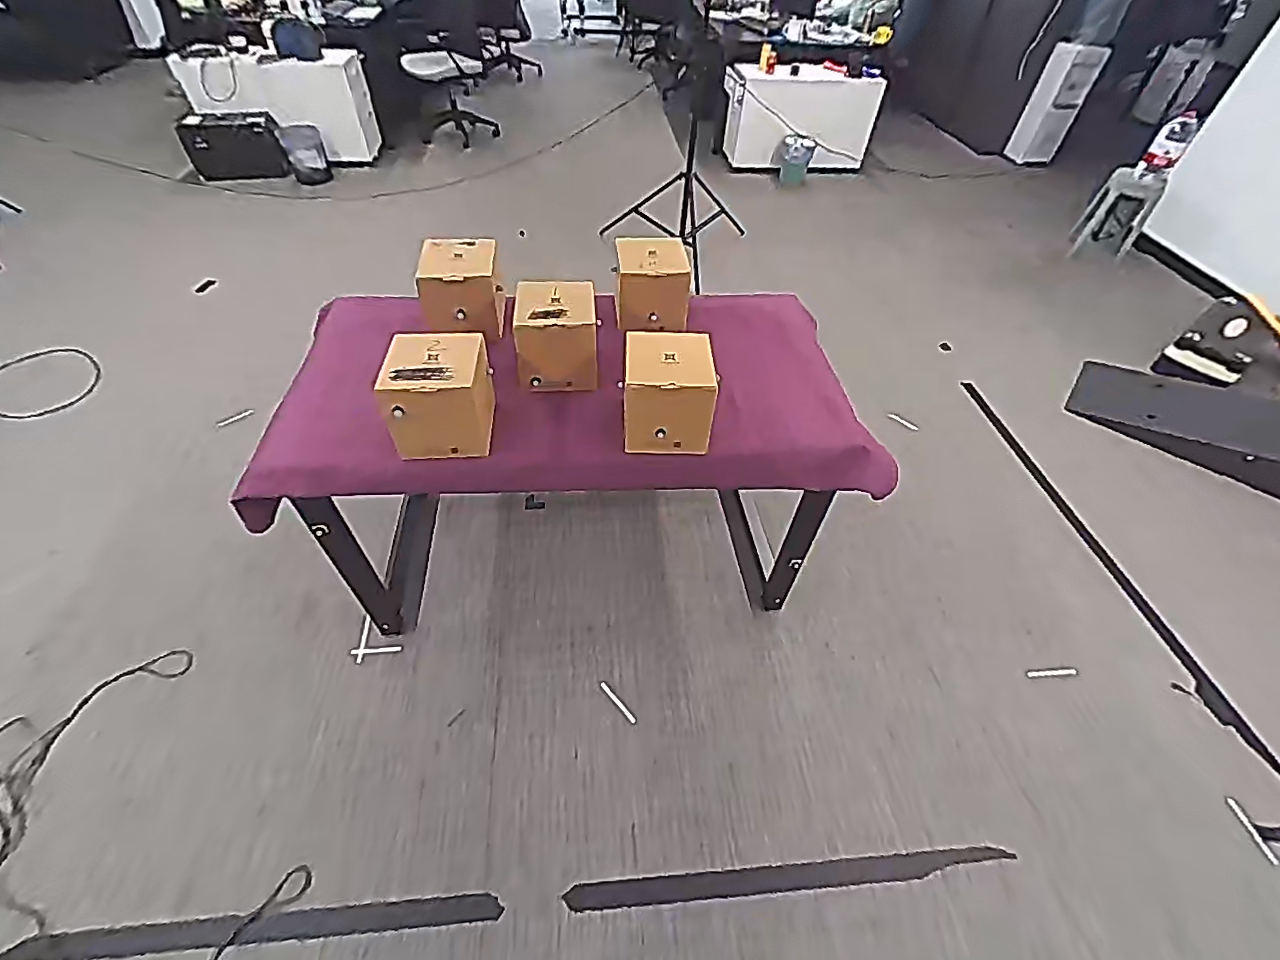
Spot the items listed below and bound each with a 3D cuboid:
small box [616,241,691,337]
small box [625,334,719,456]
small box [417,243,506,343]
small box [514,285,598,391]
[{"bbox_3d":[0.027,-0.475,1.347,0.168,0.176,0.179,-3,50,-5],"label":"small box"},{"bbox_3d":[0.055,-0.169,1.077,0.168,0.176,0.179,1,47,-2],"label":"small box"},{"bbox_3d":[-0.417,-0.444,1.295,0.168,0.176,0.179,-3,51,-6],"label":"small box"},{"bbox_3d":[-0.178,-0.310,1.191,0.168,0.176,0.179,-2,48,-5],"label":"small box"}]
